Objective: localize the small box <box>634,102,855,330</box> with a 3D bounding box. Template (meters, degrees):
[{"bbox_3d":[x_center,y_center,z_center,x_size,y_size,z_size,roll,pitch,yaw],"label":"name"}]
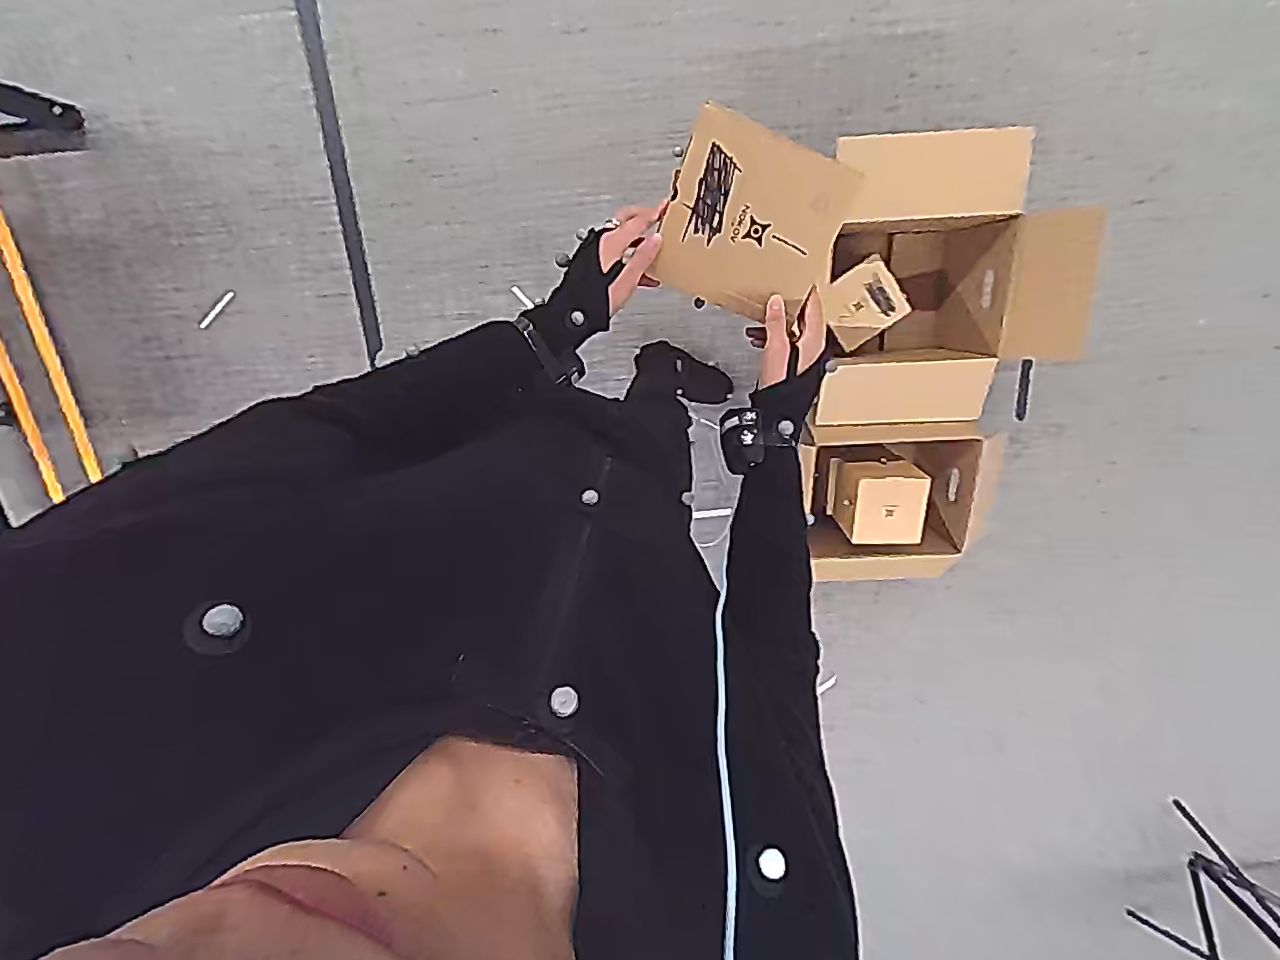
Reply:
[{"bbox_3d":[0.104,-0.290,0.619,0.179,0.176,0.168,19,114,-7],"label":"small box"}]

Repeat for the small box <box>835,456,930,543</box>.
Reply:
[{"bbox_3d":[0.608,0.047,1.378,0.168,0.176,0.179,0,109,3],"label":"small box"}]
